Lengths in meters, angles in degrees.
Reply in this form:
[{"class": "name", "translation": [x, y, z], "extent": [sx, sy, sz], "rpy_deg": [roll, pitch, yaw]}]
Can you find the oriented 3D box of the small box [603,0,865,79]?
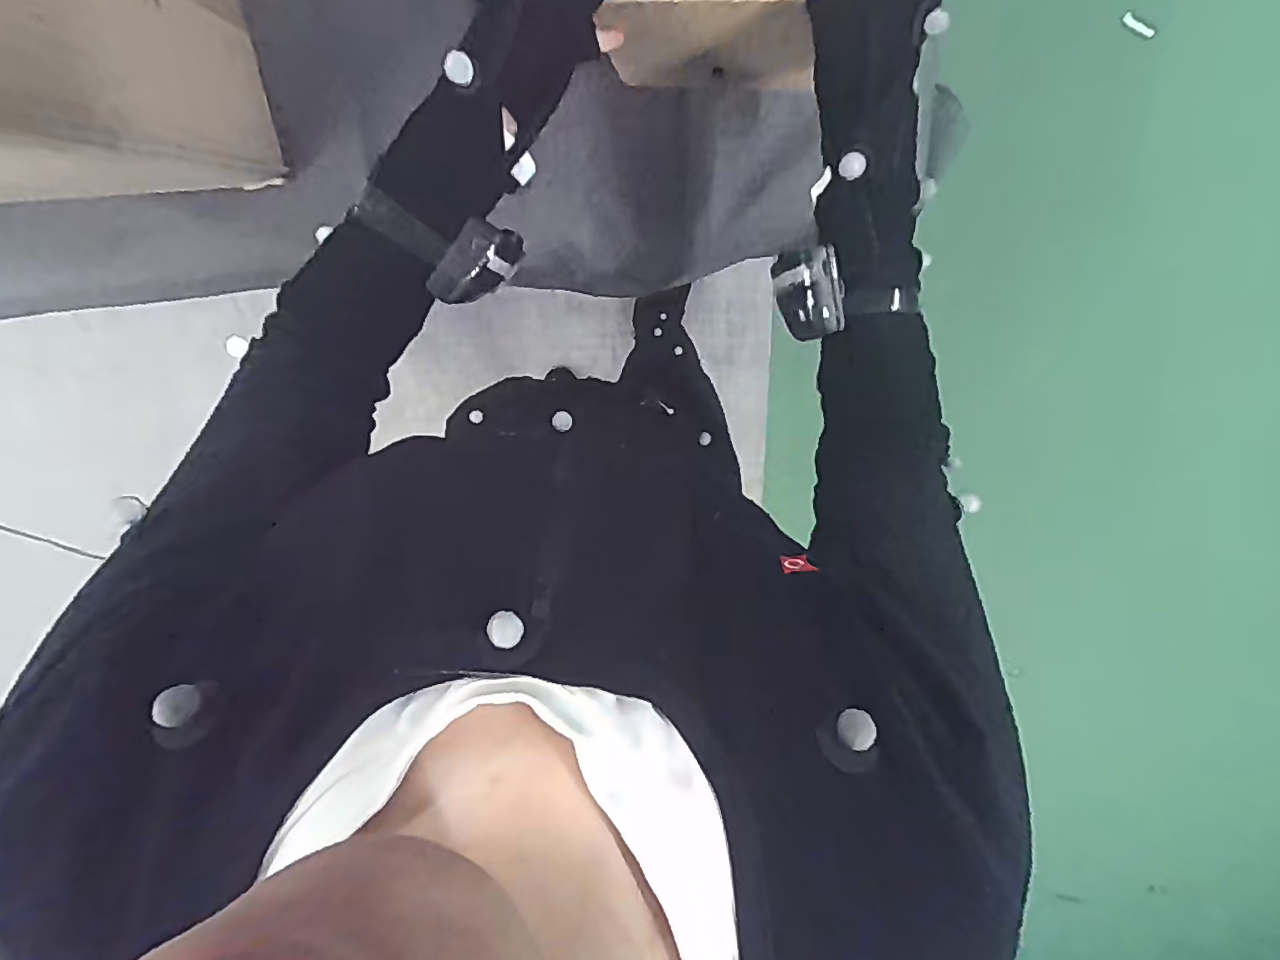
[{"class": "small box", "translation": [0.072, -0.414, 0.388], "extent": [0.179, 0.176, 0.168], "rpy_deg": [6, 111, 5]}]
